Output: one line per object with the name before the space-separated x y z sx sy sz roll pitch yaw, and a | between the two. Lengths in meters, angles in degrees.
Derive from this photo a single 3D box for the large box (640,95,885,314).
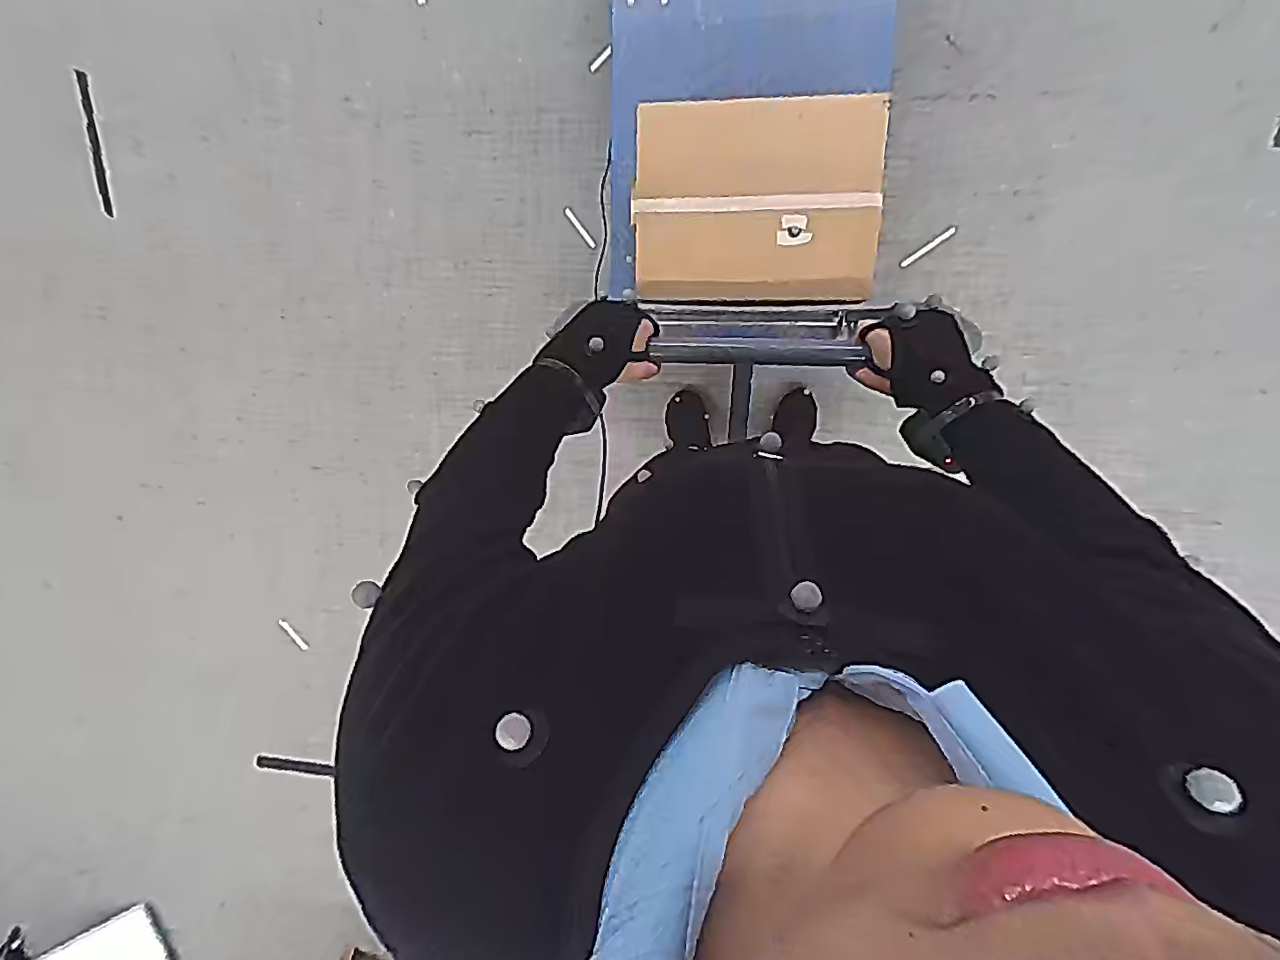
large box | 0.213 -0.503 1.065 0.408 0.320 0.320 2 104 6
